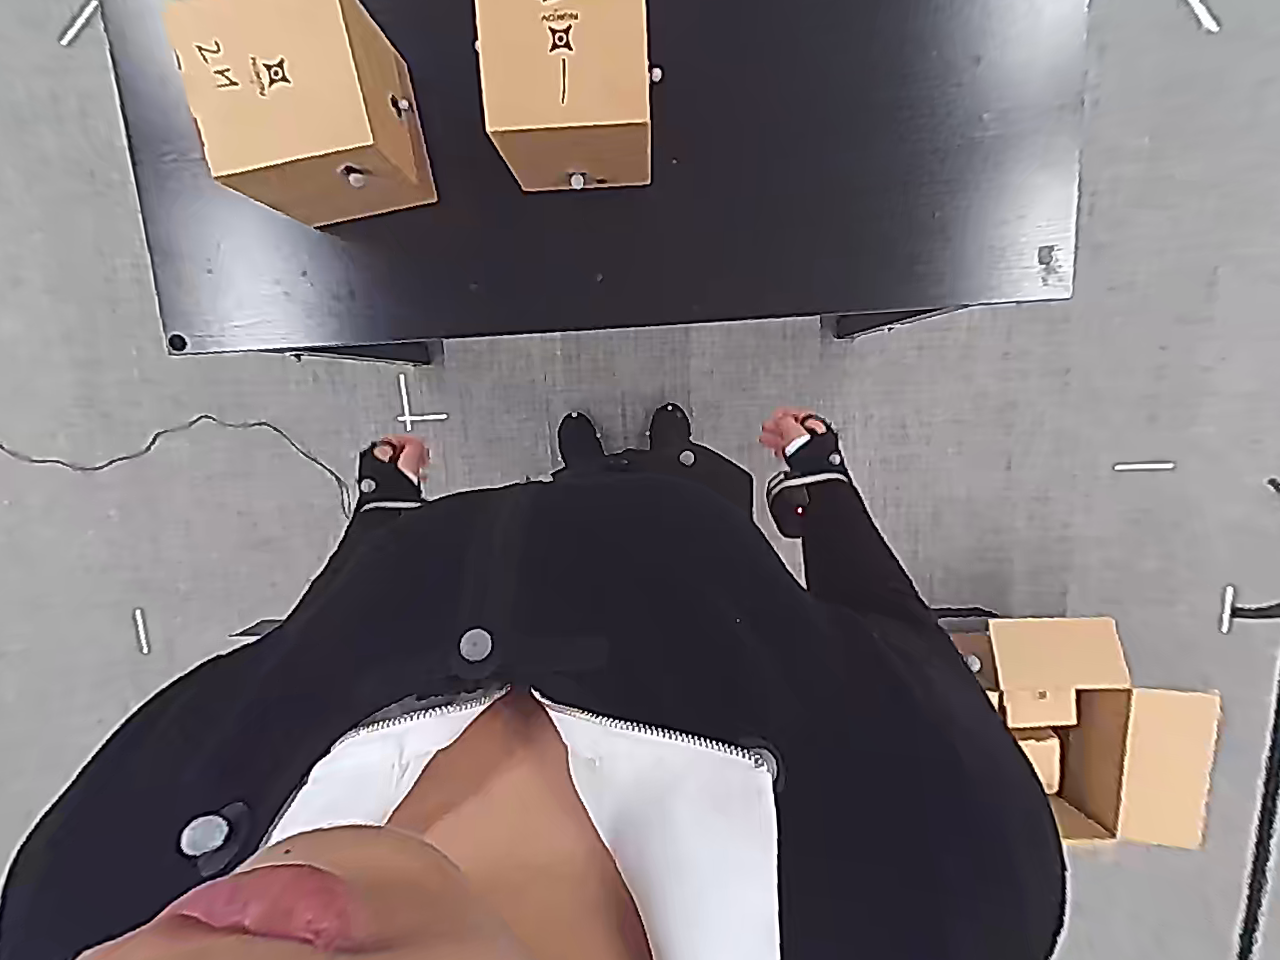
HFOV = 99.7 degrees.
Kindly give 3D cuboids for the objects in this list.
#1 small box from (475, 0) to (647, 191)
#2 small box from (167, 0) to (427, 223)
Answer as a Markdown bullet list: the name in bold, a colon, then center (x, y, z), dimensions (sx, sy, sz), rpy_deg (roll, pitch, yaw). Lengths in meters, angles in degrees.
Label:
- **small box**: center (-0.077, -0.449, 0.605), dimensions (0.168, 0.176, 0.179), rpy_deg (-2, 100, 2)
- **small box**: center (-0.364, -0.415, 0.617), dimensions (0.179, 0.176, 0.168), rpy_deg (-10, 99, 3)
